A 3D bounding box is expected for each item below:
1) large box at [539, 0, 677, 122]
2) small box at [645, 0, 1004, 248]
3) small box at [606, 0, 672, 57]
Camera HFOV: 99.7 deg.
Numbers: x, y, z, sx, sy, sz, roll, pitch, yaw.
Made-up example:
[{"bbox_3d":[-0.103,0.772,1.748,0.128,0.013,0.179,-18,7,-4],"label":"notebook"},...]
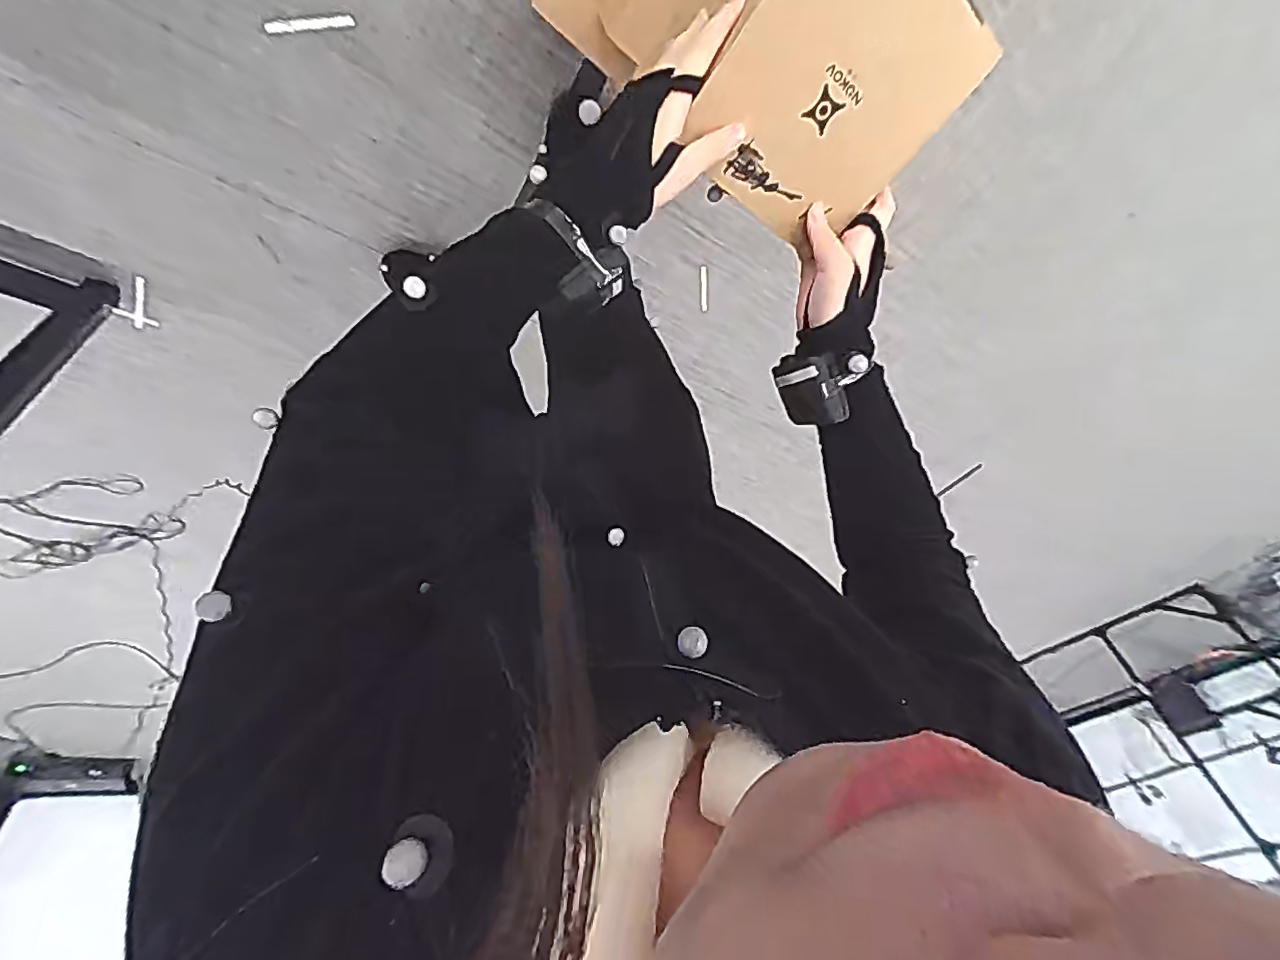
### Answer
[{"bbox_3d":[0.085,-0.763,0.723,0.320,0.320,0.408,22,129,-33],"label":"large box"},{"bbox_3d":[0.121,-0.330,0.419,0.168,0.176,0.179,21,130,-33],"label":"small box"},{"bbox_3d":[0.074,-0.544,0.595,0.168,0.176,0.179,24,129,-31],"label":"small box"}]
